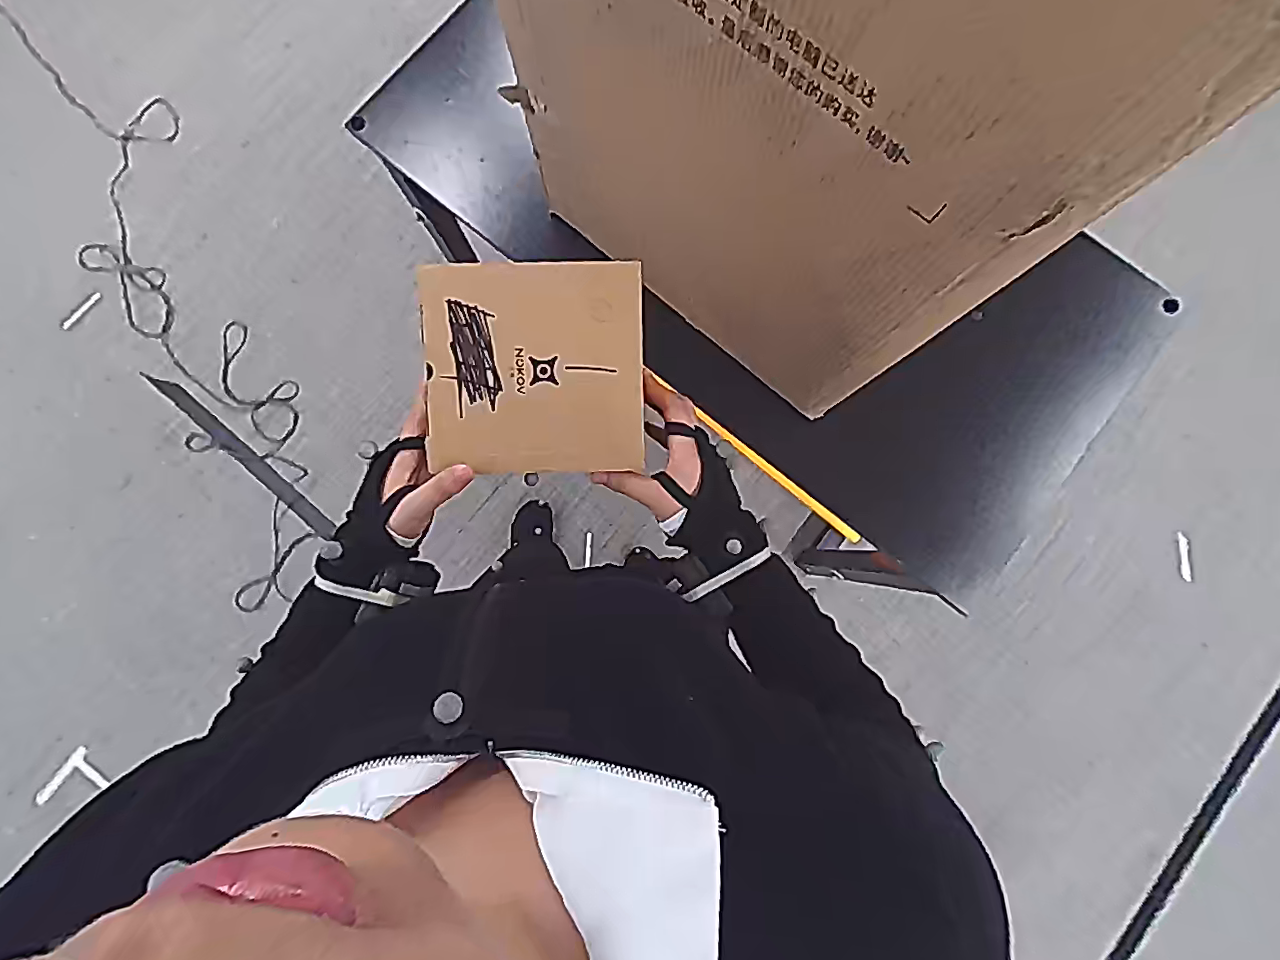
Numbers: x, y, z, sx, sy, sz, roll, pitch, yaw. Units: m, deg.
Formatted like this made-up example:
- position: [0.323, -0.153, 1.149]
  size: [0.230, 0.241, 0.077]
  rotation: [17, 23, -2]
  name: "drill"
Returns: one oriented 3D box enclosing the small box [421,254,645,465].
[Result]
- position: [-0.084, -0.100, 0.504]
  size: [0.179, 0.176, 0.168]
  rotation: [0, 95, -1]
  name: "small box"
